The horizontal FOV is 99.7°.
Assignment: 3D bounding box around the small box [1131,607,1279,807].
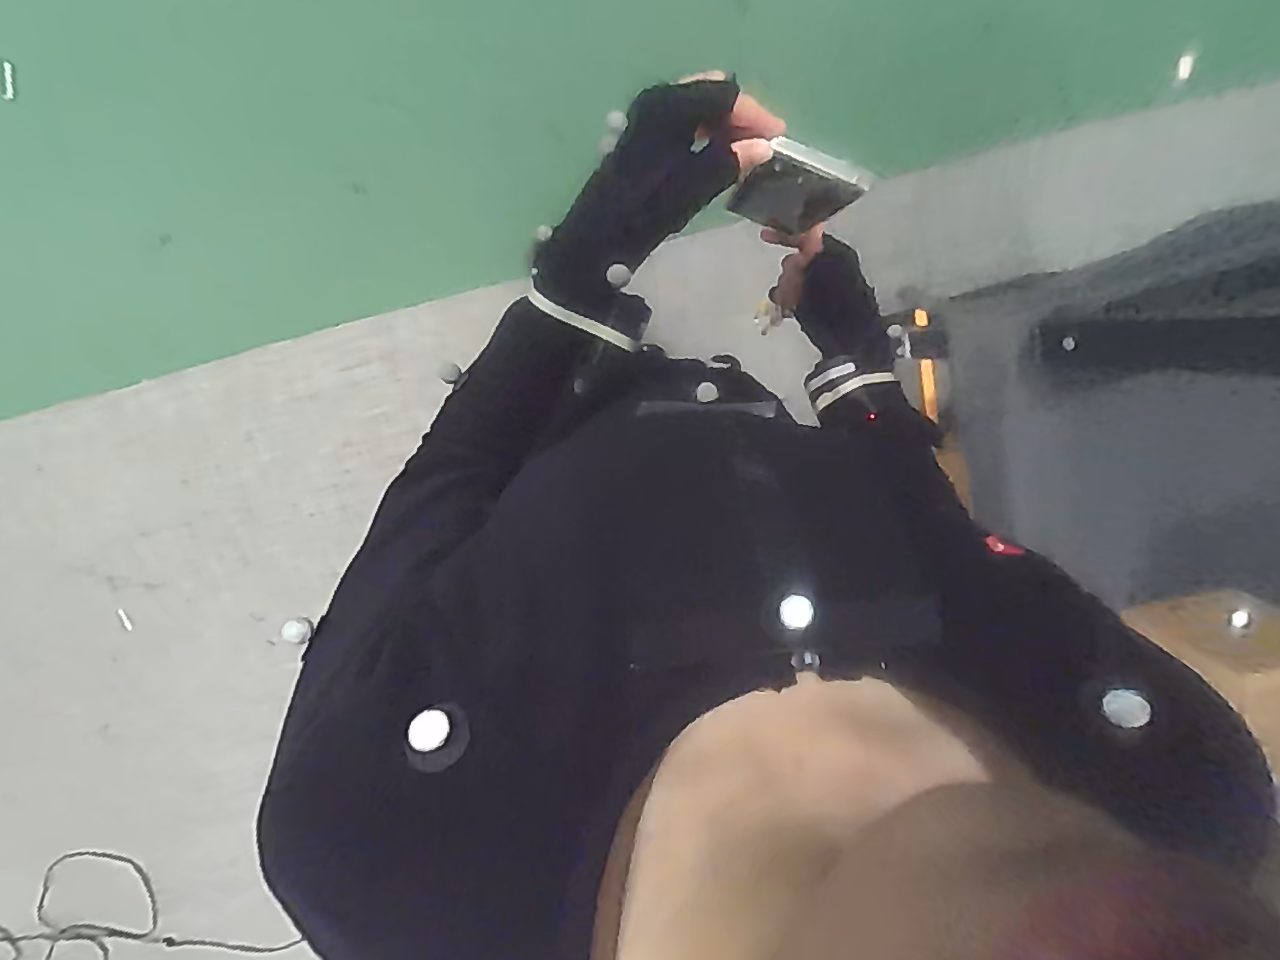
[{"bbox_3d":[0.806,0.285,0.719,0.168,0.176,0.179,-12,104,2],"label":"small box"}]
